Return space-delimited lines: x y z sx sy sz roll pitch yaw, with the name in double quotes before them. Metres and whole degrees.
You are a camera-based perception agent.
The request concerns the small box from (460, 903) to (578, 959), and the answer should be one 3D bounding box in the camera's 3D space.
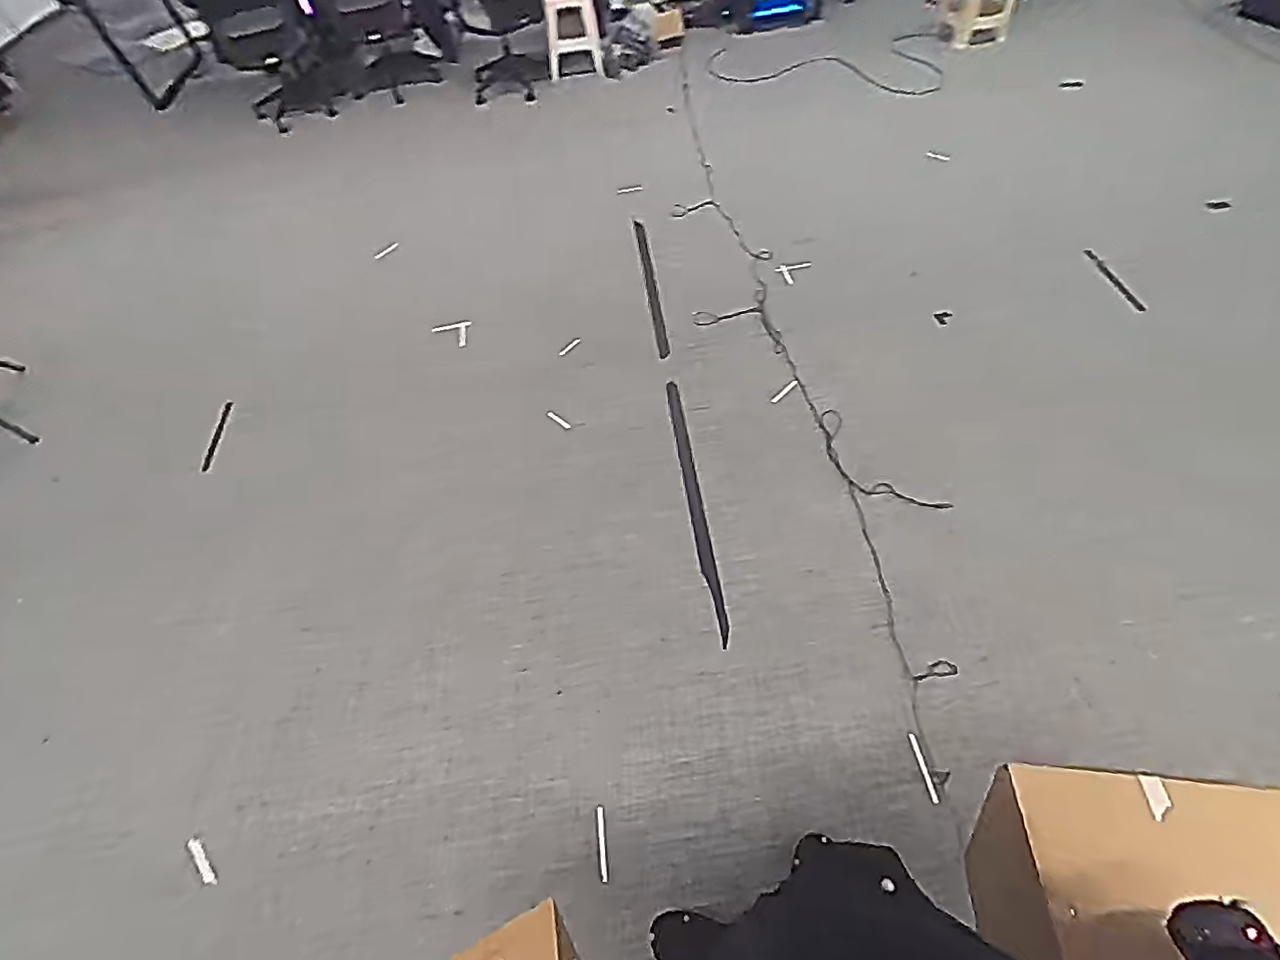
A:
"small box" -0.145 0.713 0.689 0.168 0.179 0.176 -22 87 -14
